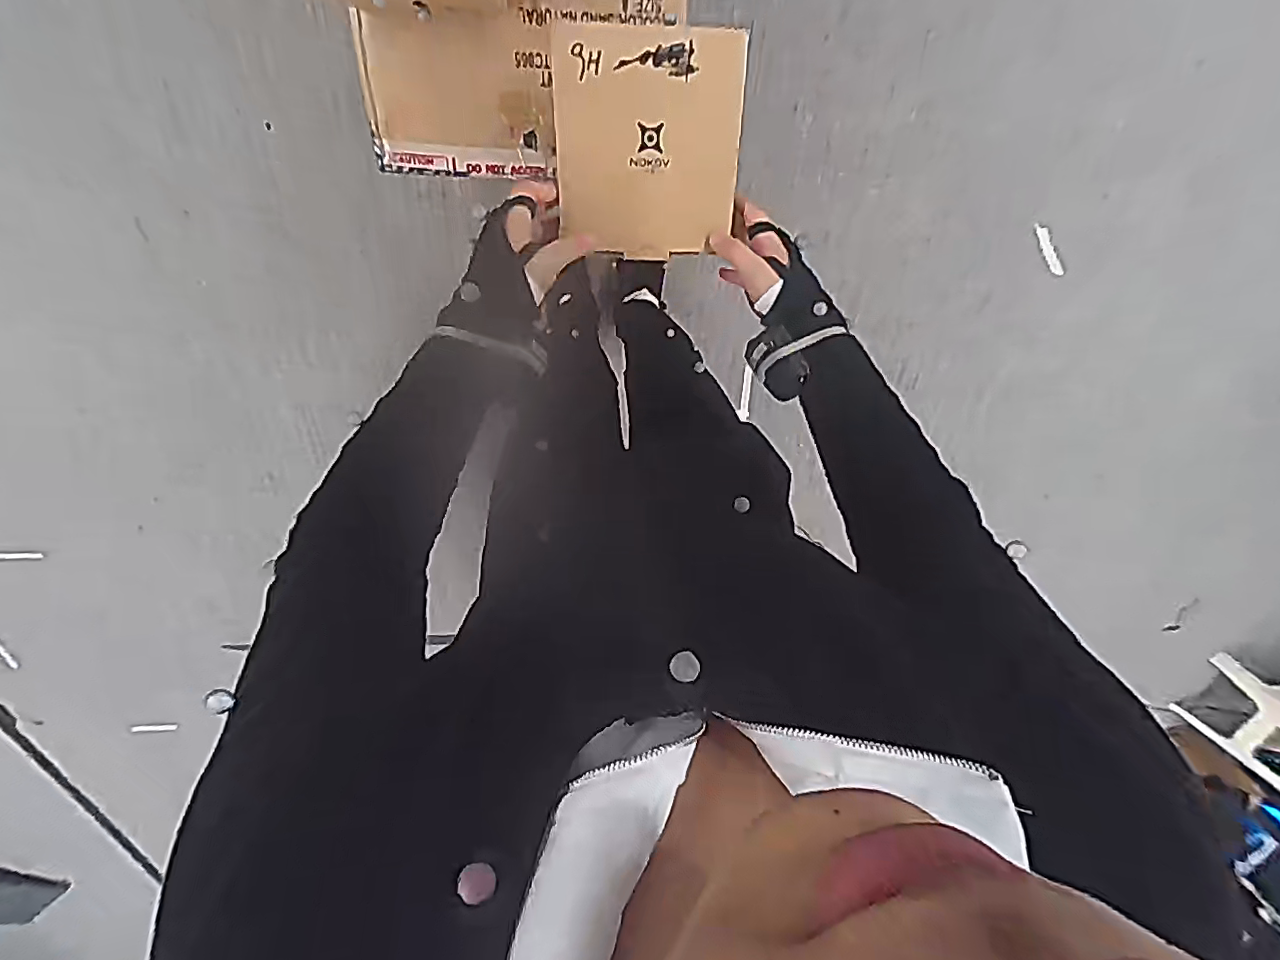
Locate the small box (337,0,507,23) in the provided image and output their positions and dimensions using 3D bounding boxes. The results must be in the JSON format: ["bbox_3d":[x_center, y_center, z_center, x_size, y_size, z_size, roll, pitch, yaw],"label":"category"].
[{"bbox_3d":[-0.226,-0.548,0.498,0.168,0.176,0.179,-2,125,-2],"label":"small box"}]

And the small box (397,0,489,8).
[{"bbox_3d":[-0.200,-0.453,0.366,0.168,0.176,0.179,0,125,-4],"label":"small box"}]

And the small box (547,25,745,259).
[{"bbox_3d":[-0.004,-0.333,0.551,0.168,0.176,0.179,-3,121,-6],"label":"small box"}]
